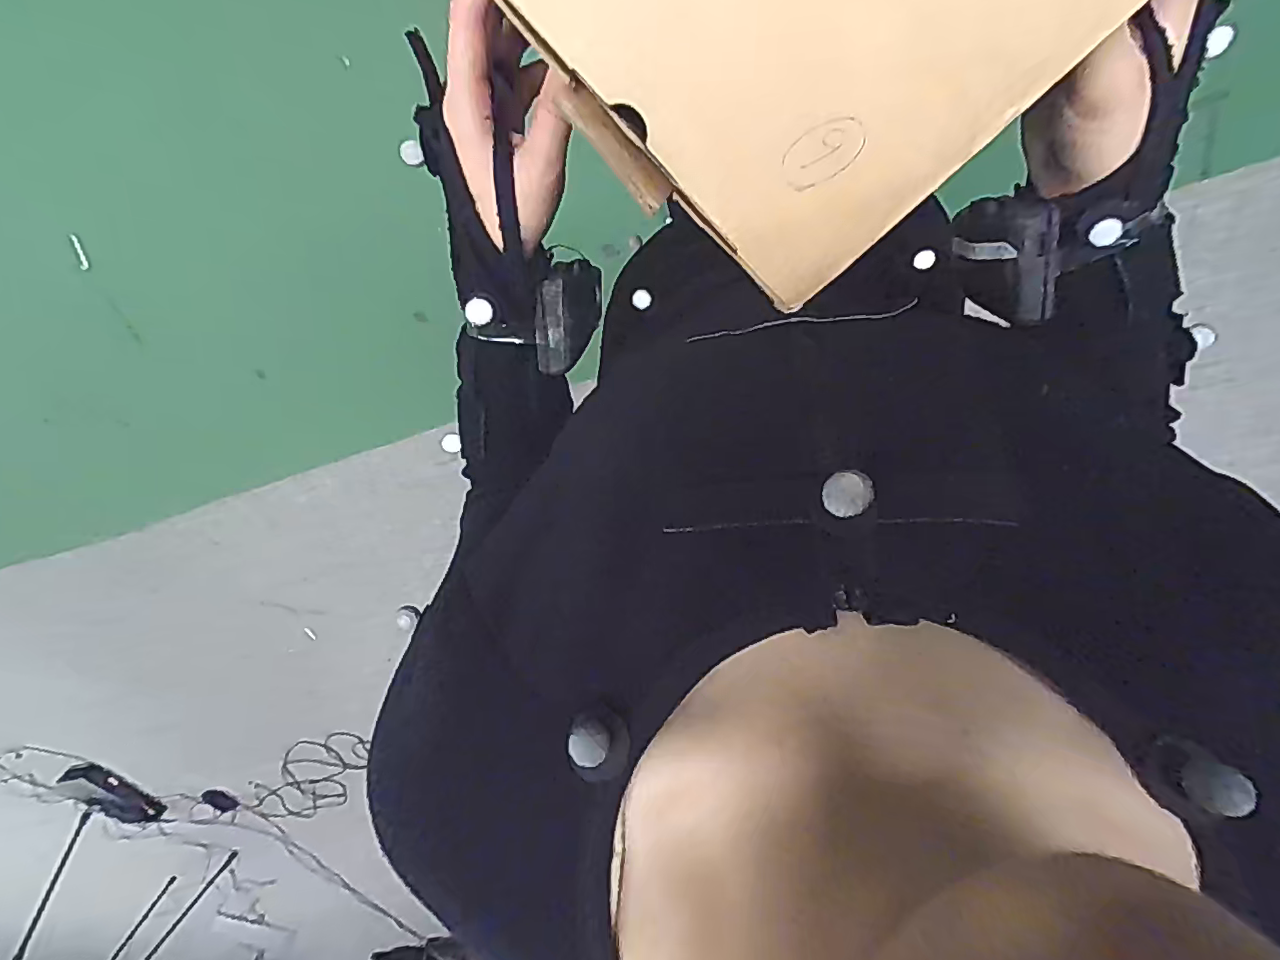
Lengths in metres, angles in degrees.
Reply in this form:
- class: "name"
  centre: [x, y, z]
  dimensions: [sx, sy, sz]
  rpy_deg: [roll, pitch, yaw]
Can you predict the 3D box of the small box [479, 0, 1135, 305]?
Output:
- class: "small box"
  centre: [0.060, -0.208, 0.208]
  dimensions: [0.168, 0.176, 0.179]
  rpy_deg: [38, 121, -20]
